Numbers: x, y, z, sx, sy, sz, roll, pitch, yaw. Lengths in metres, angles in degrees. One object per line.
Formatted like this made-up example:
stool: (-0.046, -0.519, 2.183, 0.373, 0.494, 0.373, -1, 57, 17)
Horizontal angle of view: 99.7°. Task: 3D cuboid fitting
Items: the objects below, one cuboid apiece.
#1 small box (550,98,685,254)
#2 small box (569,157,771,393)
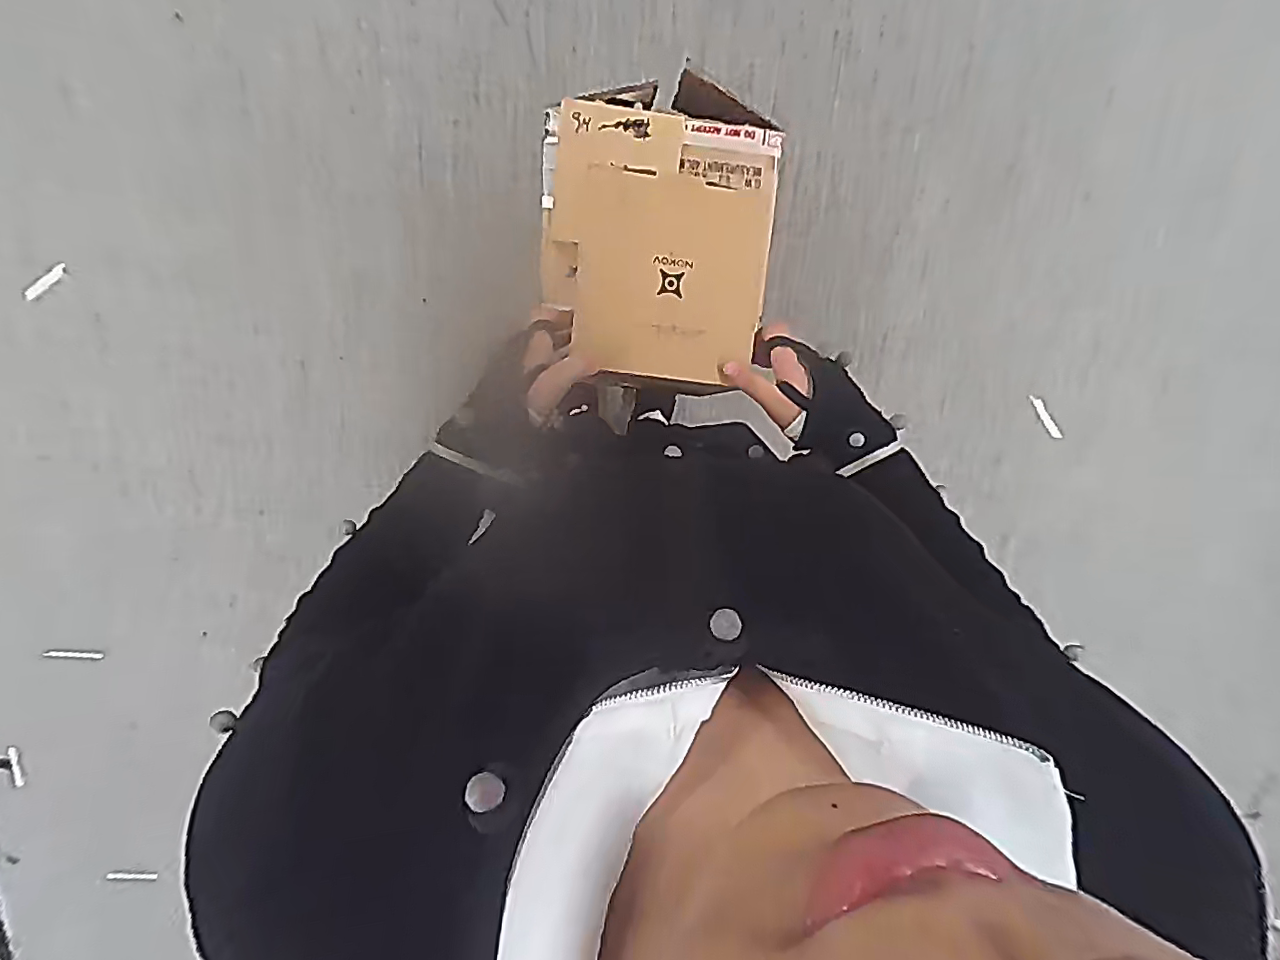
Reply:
small box: (-0.033, -0.423, 0.799, 0.168, 0.176, 0.179, 7, 107, -3)
small box: (0.017, -0.188, 0.551, 0.168, 0.176, 0.179, 5, 96, -8)
